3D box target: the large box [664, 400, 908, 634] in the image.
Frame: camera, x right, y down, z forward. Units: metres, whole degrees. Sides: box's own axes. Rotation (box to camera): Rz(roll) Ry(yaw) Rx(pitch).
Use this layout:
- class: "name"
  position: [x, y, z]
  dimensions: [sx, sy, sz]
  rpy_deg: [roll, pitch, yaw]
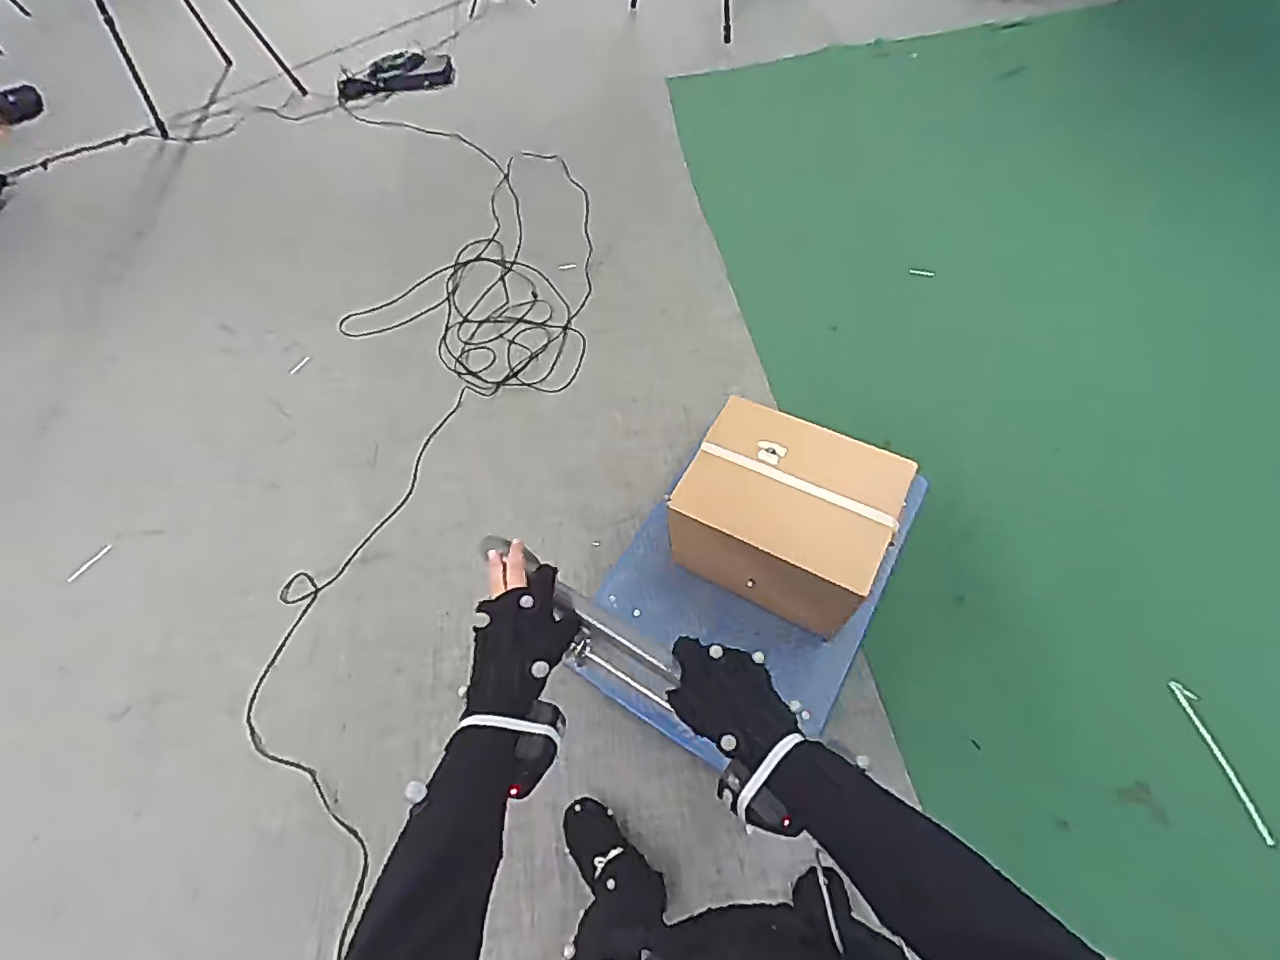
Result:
- class: "large box"
  position: [0.308, 0.087, 1.204]
  dimensions: [0.408, 0.320, 0.320]
  rpy_deg: [24, 65, 19]
